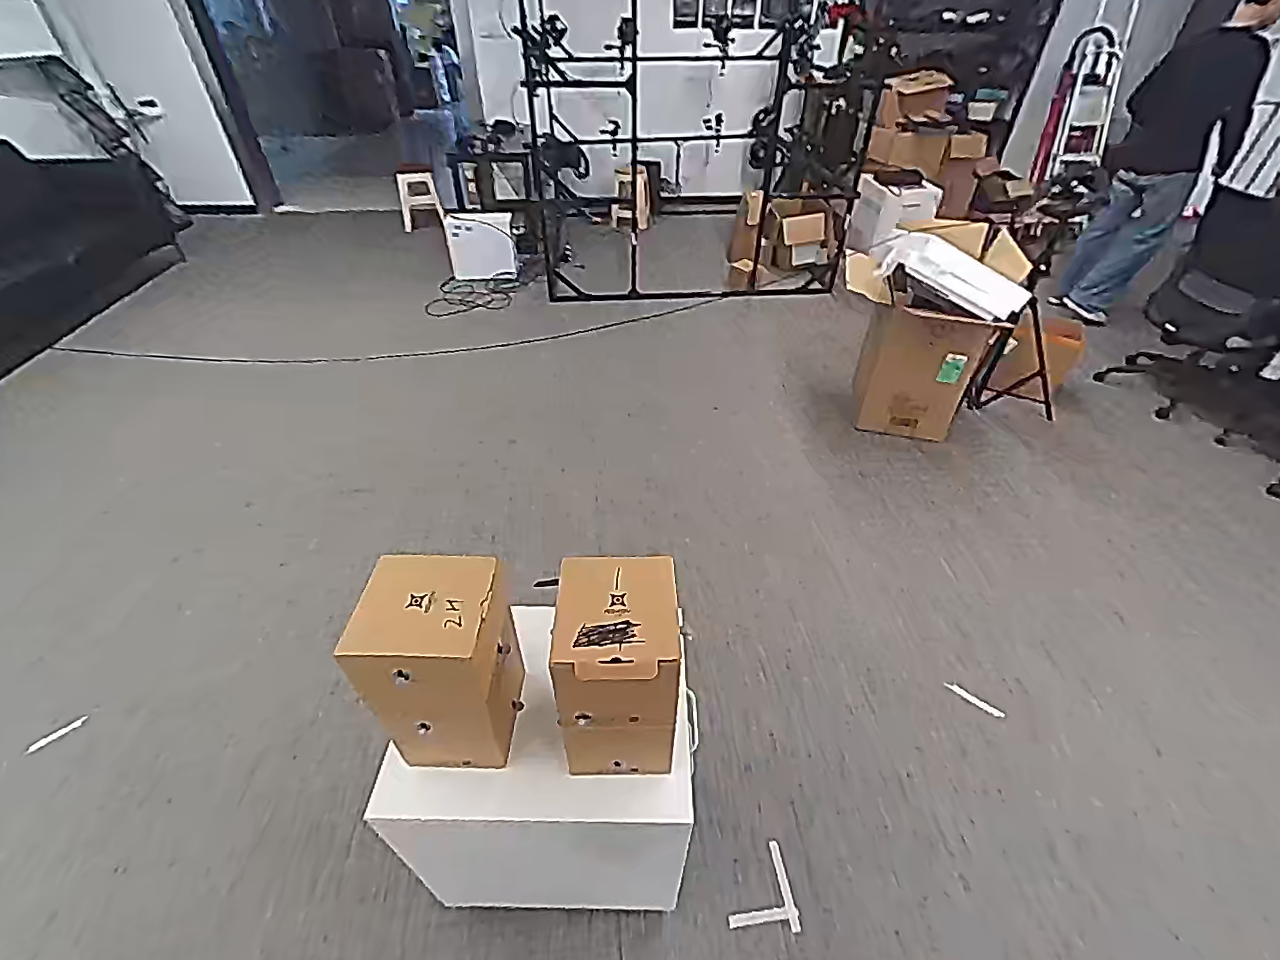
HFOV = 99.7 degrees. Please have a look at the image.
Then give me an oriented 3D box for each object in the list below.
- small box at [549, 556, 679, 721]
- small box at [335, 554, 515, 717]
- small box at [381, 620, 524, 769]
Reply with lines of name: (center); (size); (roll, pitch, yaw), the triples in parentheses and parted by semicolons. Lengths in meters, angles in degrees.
small box: (-0.030, 0.231, 0.780); (0.168, 0.176, 0.179); (0, 40, -1)
small box: (-0.292, 0.225, 0.780); (0.179, 0.176, 0.168); (2, 42, 0)
small box: (-0.293, 0.348, 0.891); (0.168, 0.176, 0.179); (1, 40, 1)
